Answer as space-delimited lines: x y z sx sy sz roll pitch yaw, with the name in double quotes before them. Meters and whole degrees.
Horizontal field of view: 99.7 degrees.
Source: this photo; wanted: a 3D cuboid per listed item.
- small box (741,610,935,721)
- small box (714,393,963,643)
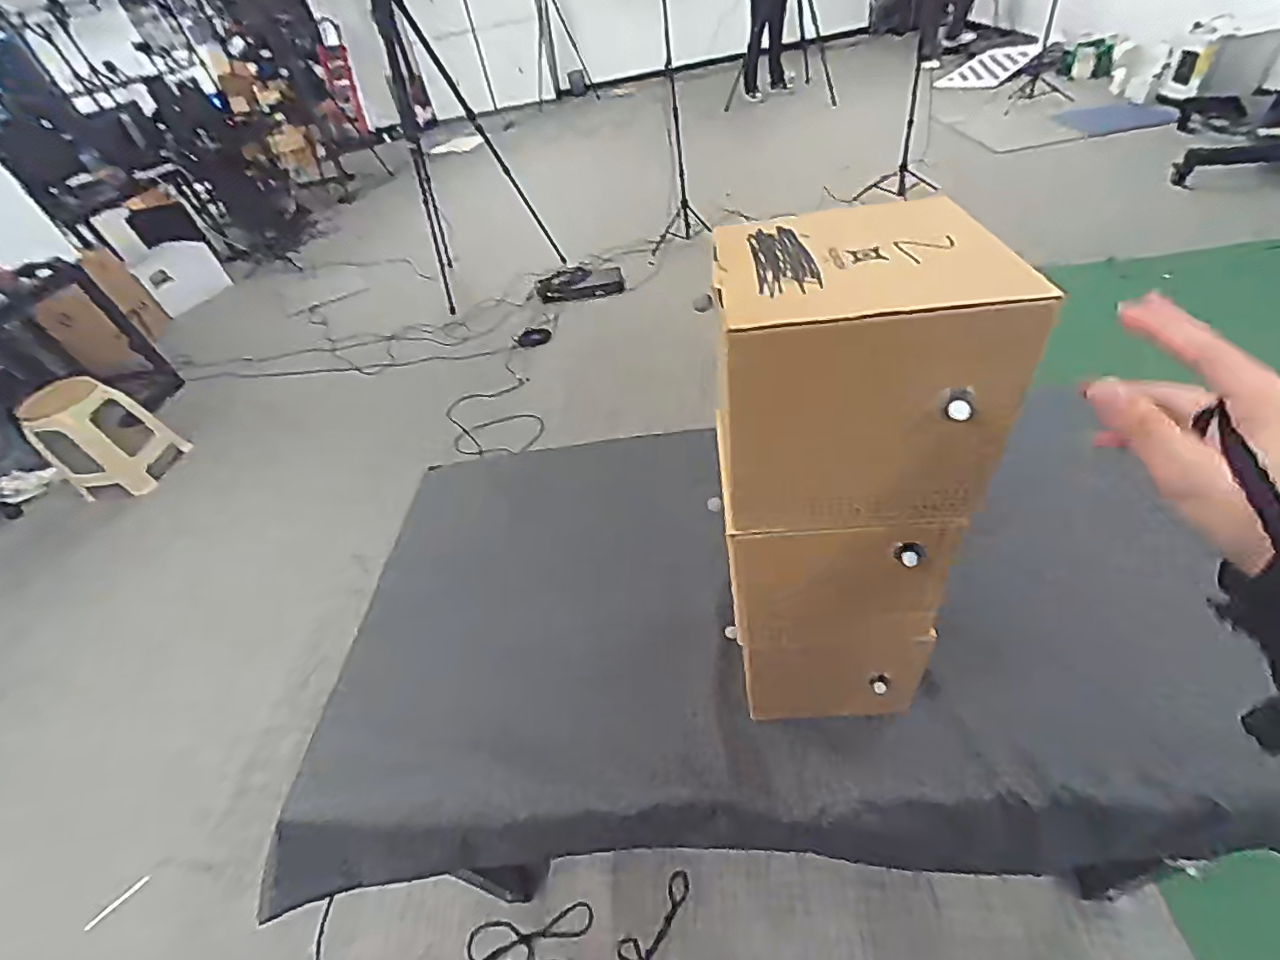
"small box" 0.203 0.158 0.618 0.179 0.176 0.168 -7 42 8
"small box" 0.168 0.040 0.513 0.179 0.176 0.168 -5 42 8
